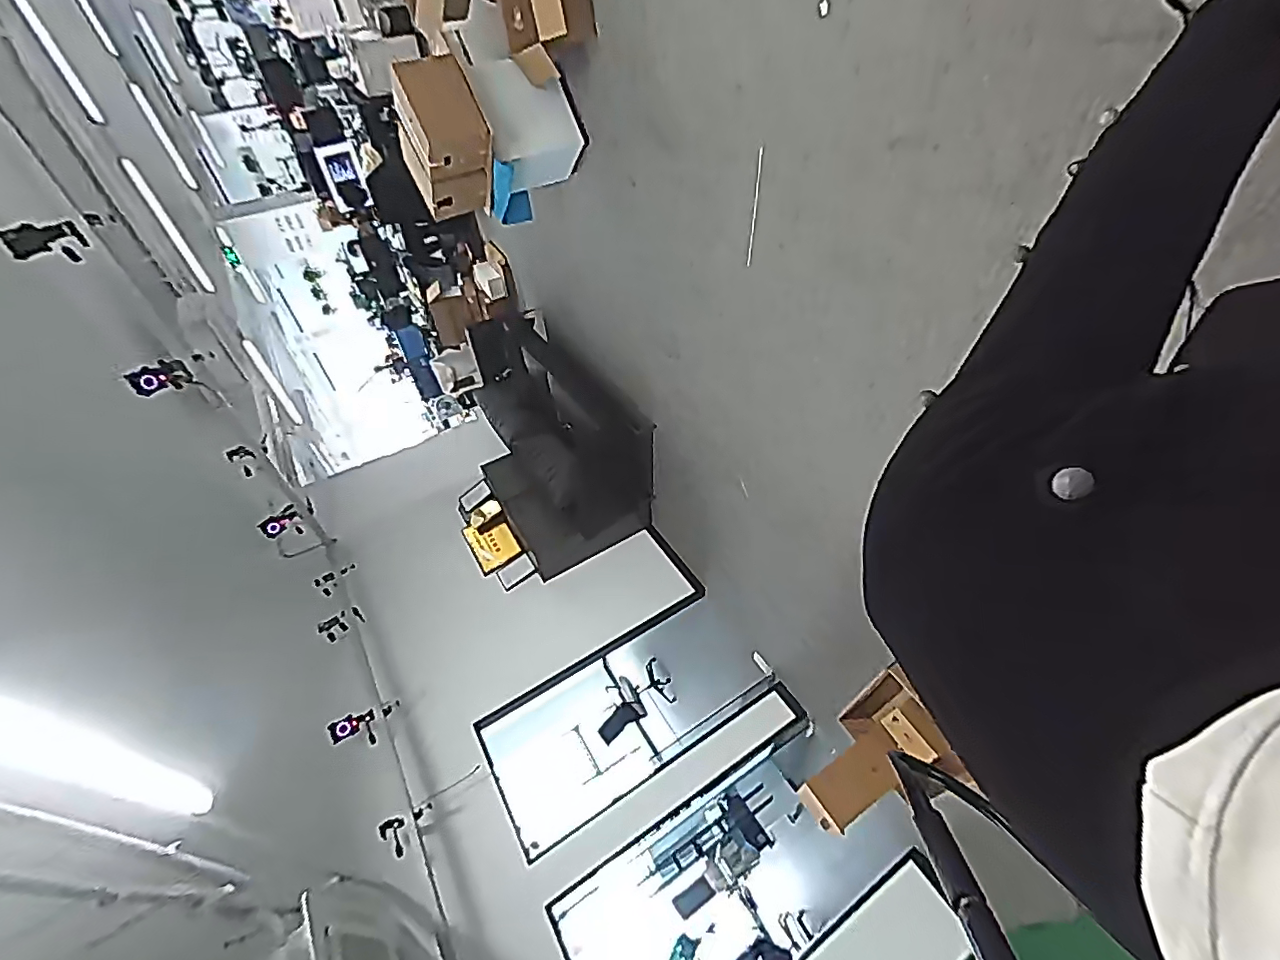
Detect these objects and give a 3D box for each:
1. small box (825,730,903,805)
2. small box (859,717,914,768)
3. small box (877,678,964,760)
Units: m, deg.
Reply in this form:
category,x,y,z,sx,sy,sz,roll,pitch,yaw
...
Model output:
category,x,y,z,sx,sy,sz,roll,pitch,yaw
small box,0.830,1.059,2.008,0.179,0.176,0.168,48,155,33
small box,0.967,0.992,2.069,0.179,0.176,0.168,50,156,32
small box,0.963,0.820,1.859,0.179,0.176,0.168,51,157,30
